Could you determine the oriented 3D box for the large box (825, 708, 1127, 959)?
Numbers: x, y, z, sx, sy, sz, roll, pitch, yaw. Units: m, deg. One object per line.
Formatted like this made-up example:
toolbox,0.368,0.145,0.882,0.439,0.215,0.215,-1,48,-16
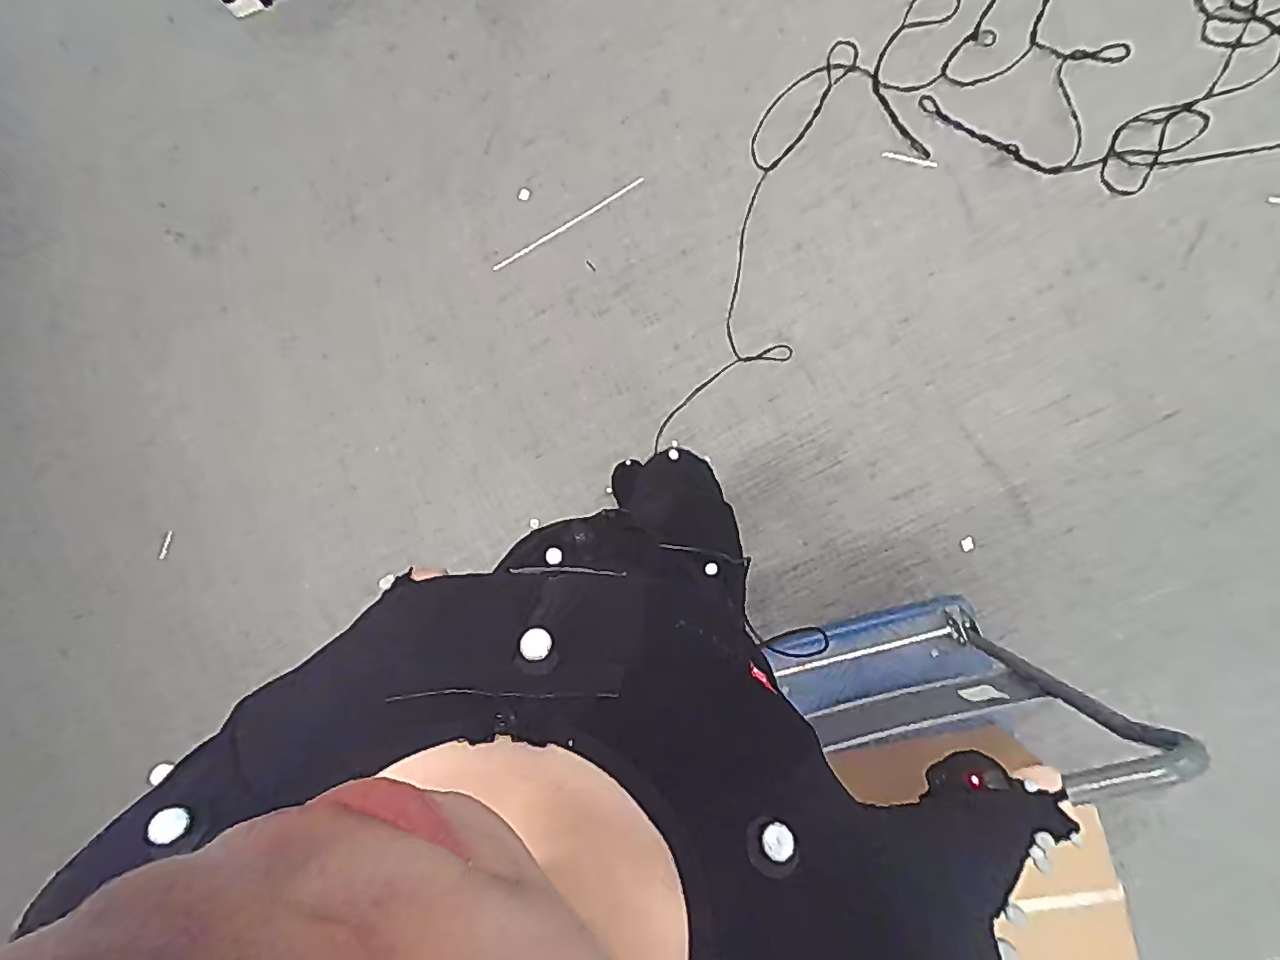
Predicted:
large box,0.648,0.722,1.121,0.408,0.320,0.320,-15,88,8
